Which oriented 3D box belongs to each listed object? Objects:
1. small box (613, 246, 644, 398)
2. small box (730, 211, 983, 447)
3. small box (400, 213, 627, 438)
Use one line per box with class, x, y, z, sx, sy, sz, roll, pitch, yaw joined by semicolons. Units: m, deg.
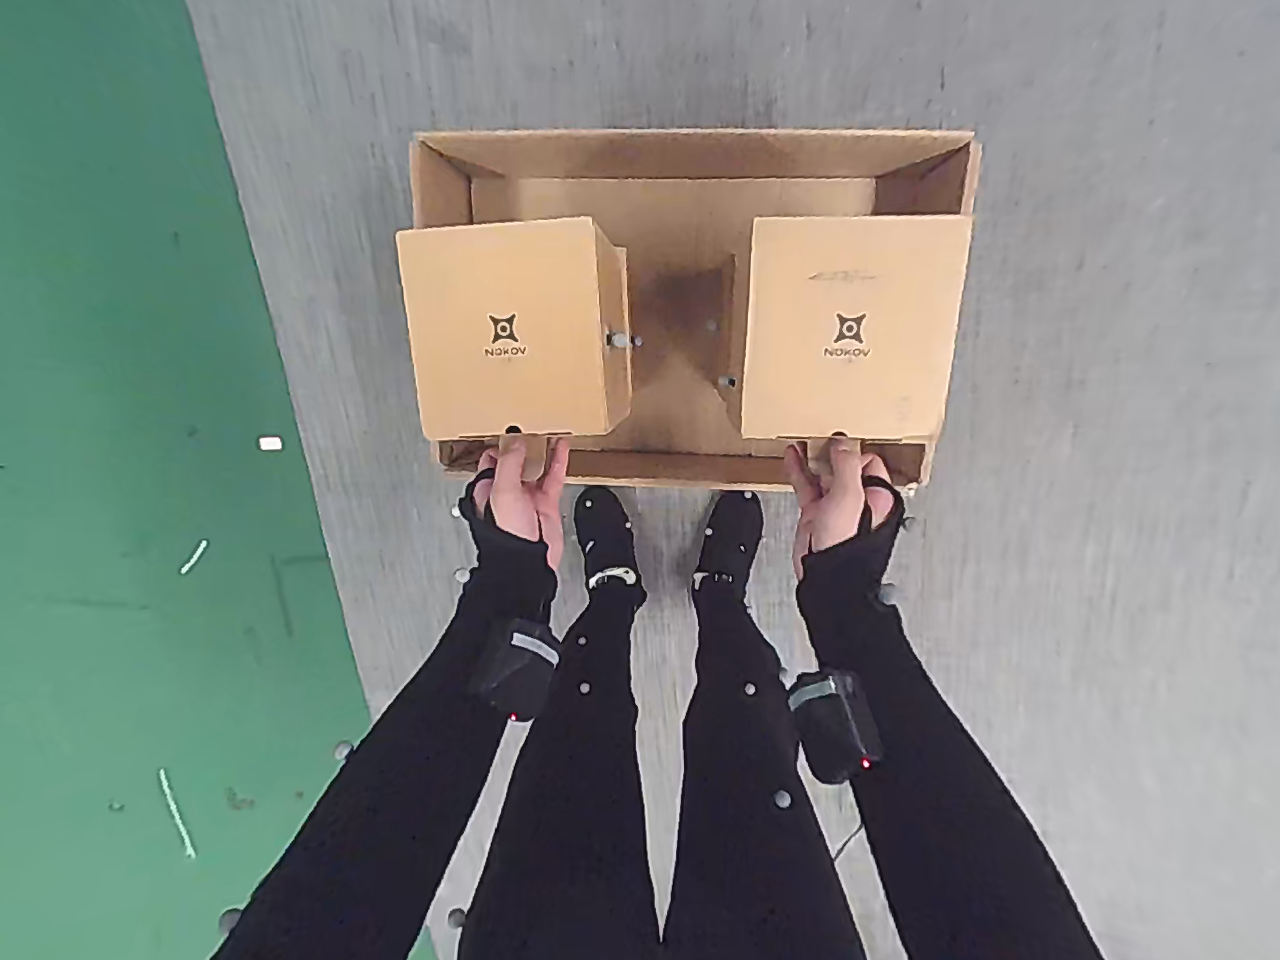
small box;-0.088;-0.190;0.679;0.179;0.176;0.168;0;104;4
small box;0.175;-0.133;0.500;0.168;0.176;0.179;3;103;4
small box;-0.104;-0.140;0.523;0.168;0.176;0.179;-1;103;5
